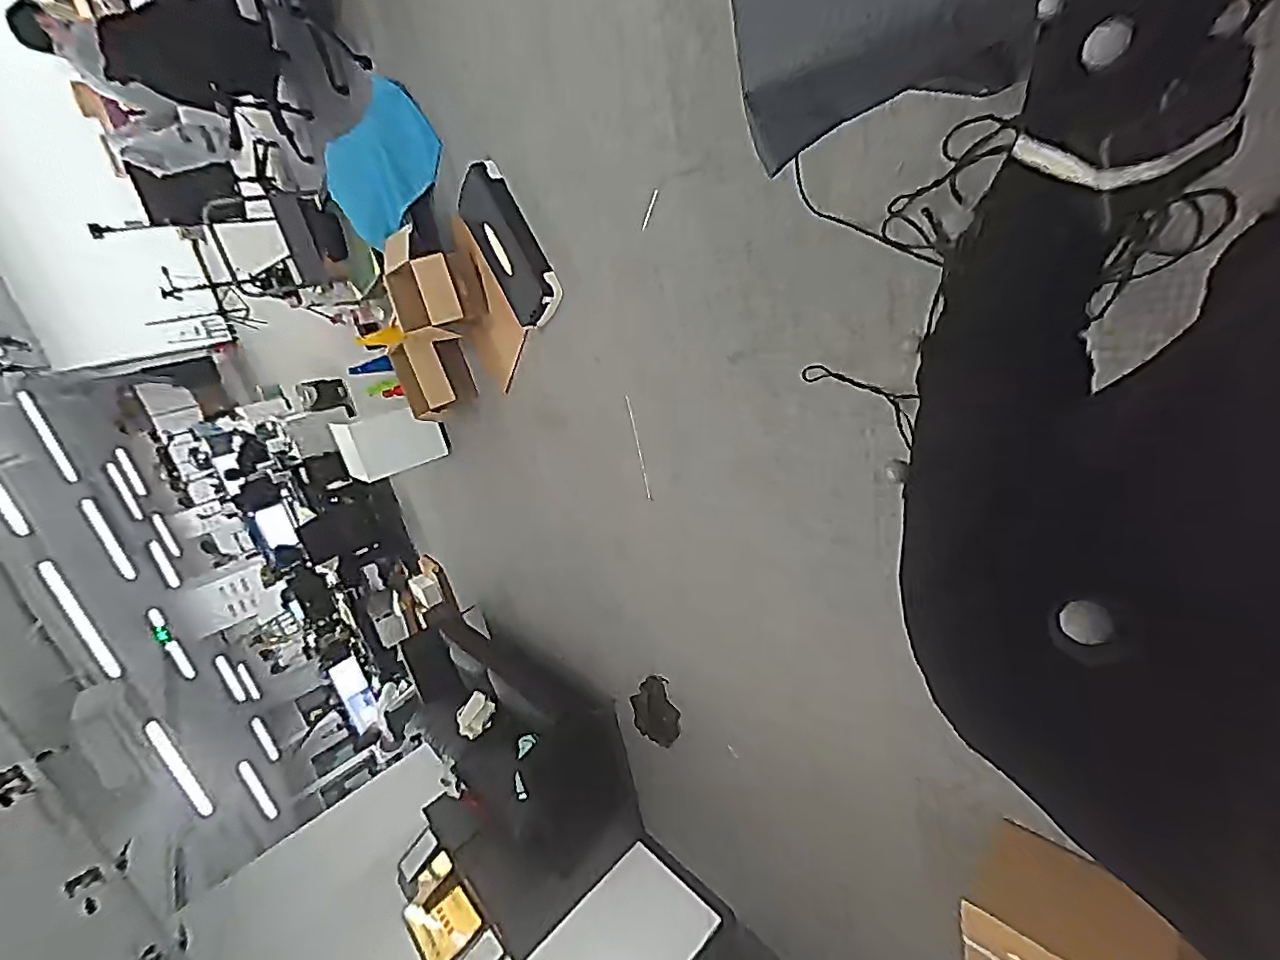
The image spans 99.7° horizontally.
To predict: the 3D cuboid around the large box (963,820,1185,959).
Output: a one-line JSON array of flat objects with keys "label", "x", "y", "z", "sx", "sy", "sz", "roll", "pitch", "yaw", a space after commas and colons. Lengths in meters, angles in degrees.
[{"label": "large box", "x": 1.151, "y": 1.234, "z": 1.448, "sx": 0.408, "sy": 0.320, "sz": 0.320, "roll": 9, "pitch": 117, "yaw": 50}]
